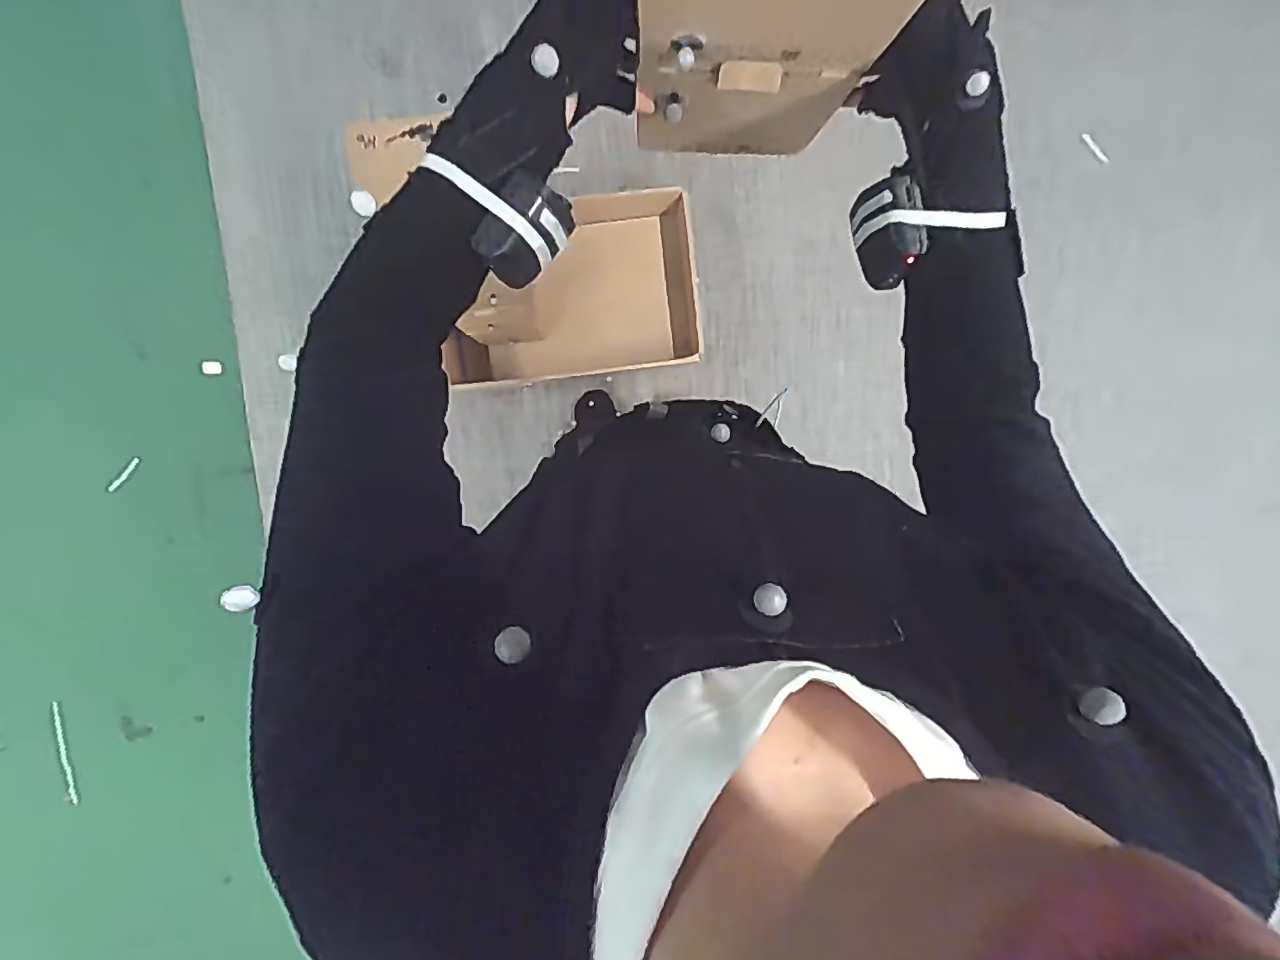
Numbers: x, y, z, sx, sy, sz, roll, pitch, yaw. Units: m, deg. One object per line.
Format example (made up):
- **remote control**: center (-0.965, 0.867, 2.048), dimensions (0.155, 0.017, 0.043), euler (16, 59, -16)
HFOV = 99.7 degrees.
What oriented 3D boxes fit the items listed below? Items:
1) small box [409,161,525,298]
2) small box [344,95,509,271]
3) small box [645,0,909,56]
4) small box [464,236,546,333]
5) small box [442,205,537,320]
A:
- **small box**: center (-0.304, -0.427, 0.948), dimensions (0.168, 0.176, 0.179), euler (-7, 96, -3)
- **small box**: center (-0.295, -0.414, 0.785), dimensions (0.168, 0.176, 0.179), euler (-8, 97, -4)
- **small box**: center (0.086, -0.353, 0.269), dimensions (0.168, 0.176, 0.179), euler (4, 105, -3)
- **small box**: center (-0.318, -0.454, 1.274), dimensions (0.168, 0.176, 0.179), euler (-4, 96, -2)
- **small box**: center (-0.310, -0.439, 1.111), dimensions (0.168, 0.176, 0.179), euler (-6, 97, -3)
